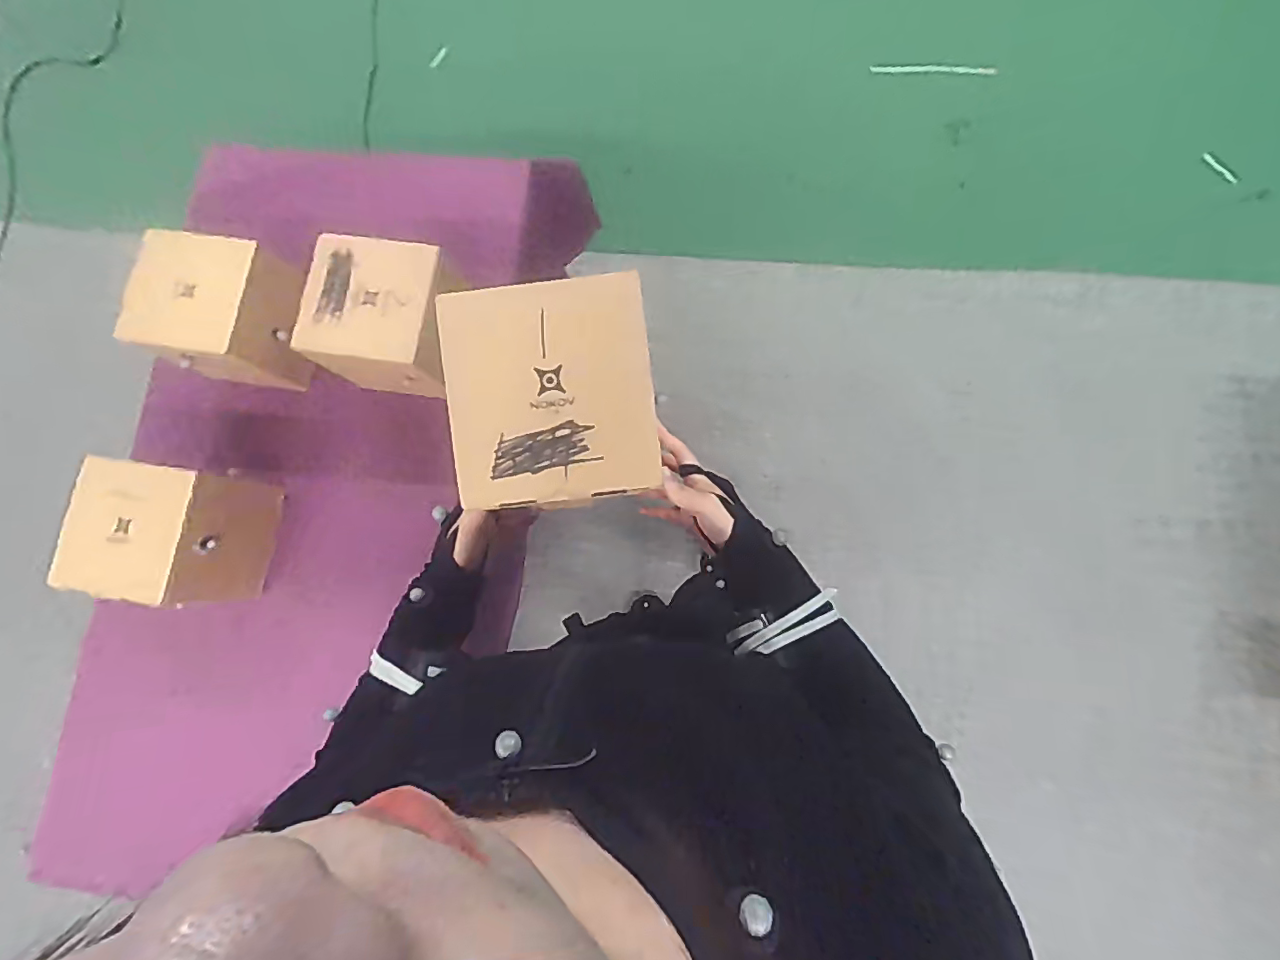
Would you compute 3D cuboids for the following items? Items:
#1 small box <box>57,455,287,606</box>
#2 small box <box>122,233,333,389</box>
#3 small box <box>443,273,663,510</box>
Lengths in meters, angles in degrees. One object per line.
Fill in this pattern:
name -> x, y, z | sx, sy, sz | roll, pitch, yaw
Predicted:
small box -> -0.655, 0.076, 0.781 | 0.168, 0.176, 0.179 | 9, 81, 6
small box -> -0.611, -0.247, 0.825 | 0.179, 0.176, 0.168 | 9, 83, 8
small box -> -0.066, -0.072, 0.509 | 0.168, 0.176, 0.179 | -6, 90, 1
